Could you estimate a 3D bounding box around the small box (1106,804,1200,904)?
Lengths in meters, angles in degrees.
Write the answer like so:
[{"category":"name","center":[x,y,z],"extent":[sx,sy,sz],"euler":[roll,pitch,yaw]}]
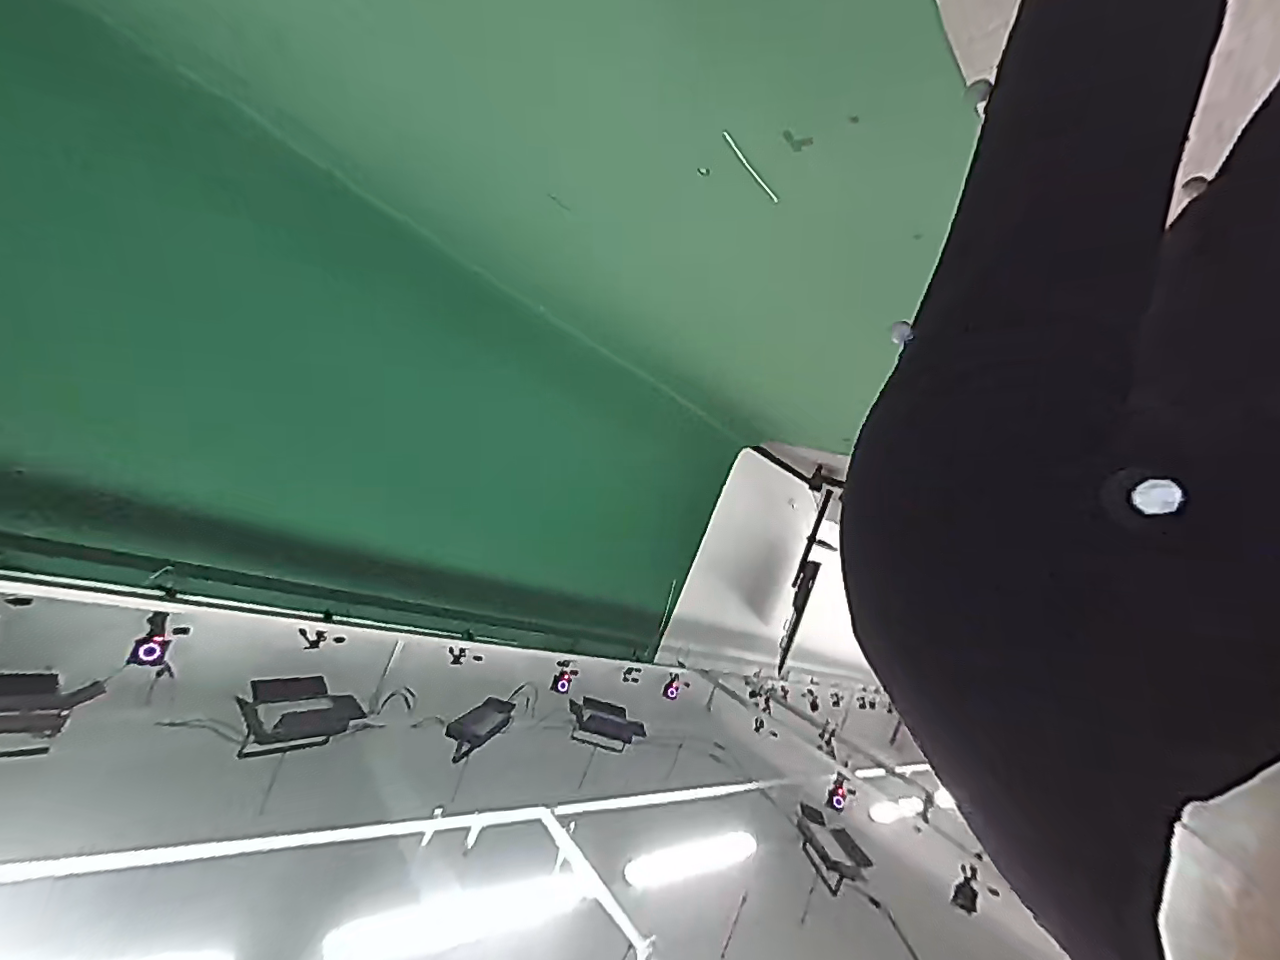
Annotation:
[{"category":"small box","center":[1.524,1.098,1.607],"extent":[0.179,0.176,0.168],"euler":[23,177,-43]}]
